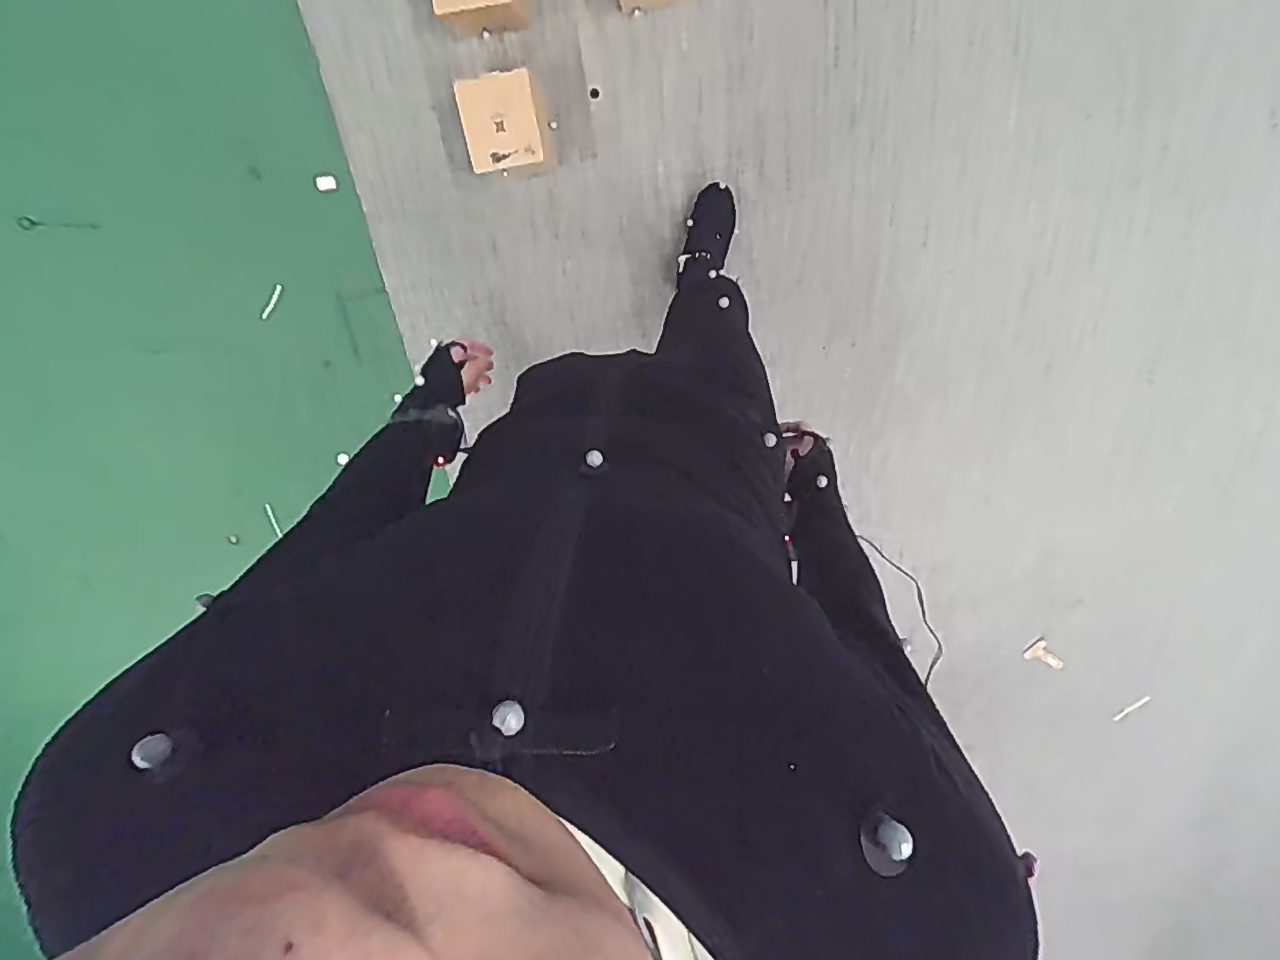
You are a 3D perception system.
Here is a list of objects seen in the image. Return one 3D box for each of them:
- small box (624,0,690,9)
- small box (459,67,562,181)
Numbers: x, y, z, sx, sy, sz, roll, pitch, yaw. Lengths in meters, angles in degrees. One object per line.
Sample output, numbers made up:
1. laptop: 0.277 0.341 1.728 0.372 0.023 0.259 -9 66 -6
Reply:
1. small box: 0.033 -1.089 1.087 0.168 0.176 0.179 -4 114 7
2. small box: -0.288 -0.808 1.244 0.168 0.176 0.179 -6 113 8
